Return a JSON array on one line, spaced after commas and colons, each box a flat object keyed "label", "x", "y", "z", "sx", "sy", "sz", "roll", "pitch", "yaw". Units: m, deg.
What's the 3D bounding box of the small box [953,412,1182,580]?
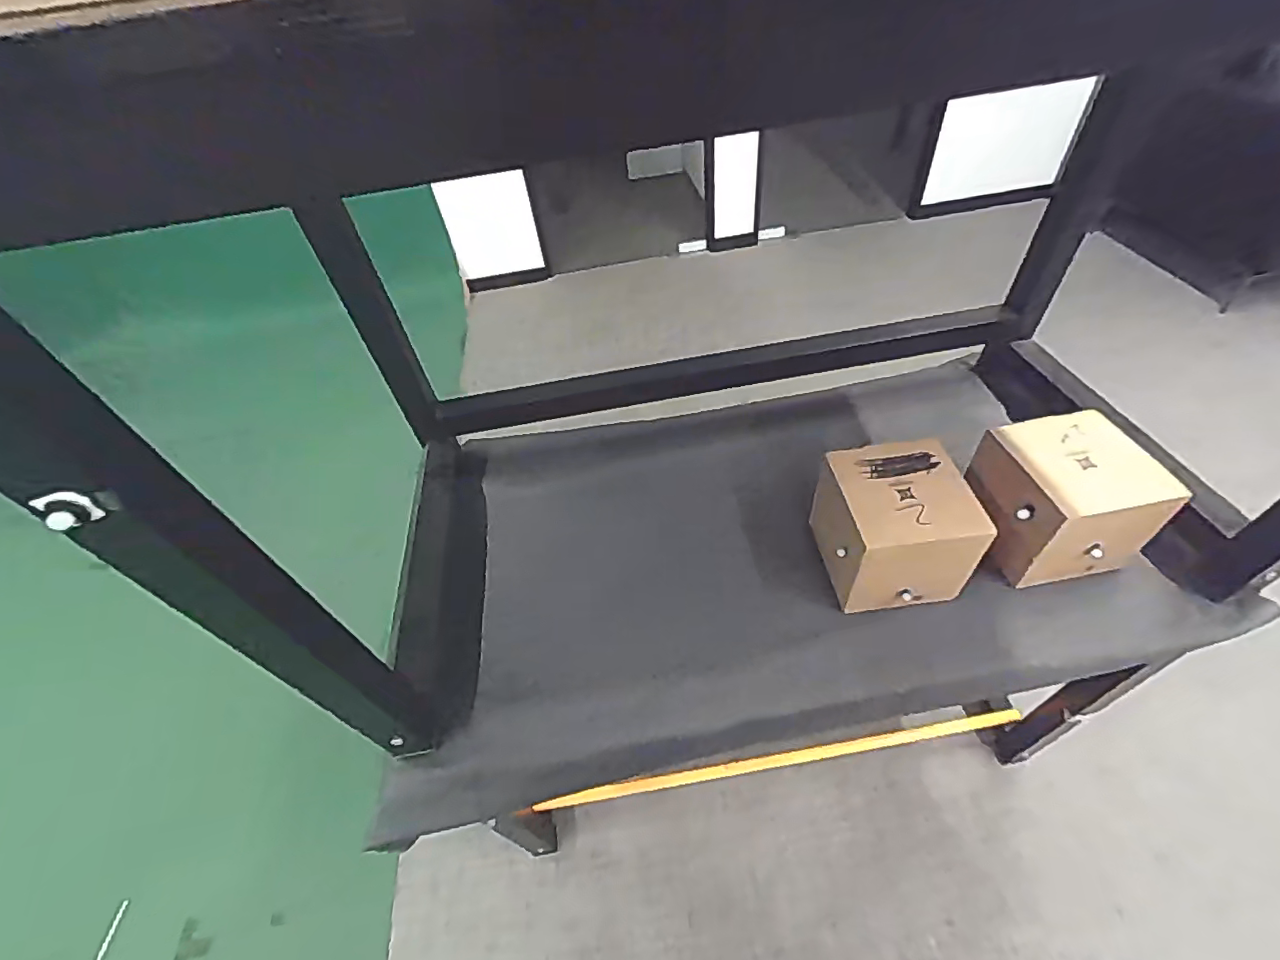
[{"label": "small box", "x": 0.603, "y": 0.030, "z": 0.795, "sx": 0.168, "sy": 0.176, "sz": 0.179, "roll": -10, "pitch": 46, "yaw": -2}]
